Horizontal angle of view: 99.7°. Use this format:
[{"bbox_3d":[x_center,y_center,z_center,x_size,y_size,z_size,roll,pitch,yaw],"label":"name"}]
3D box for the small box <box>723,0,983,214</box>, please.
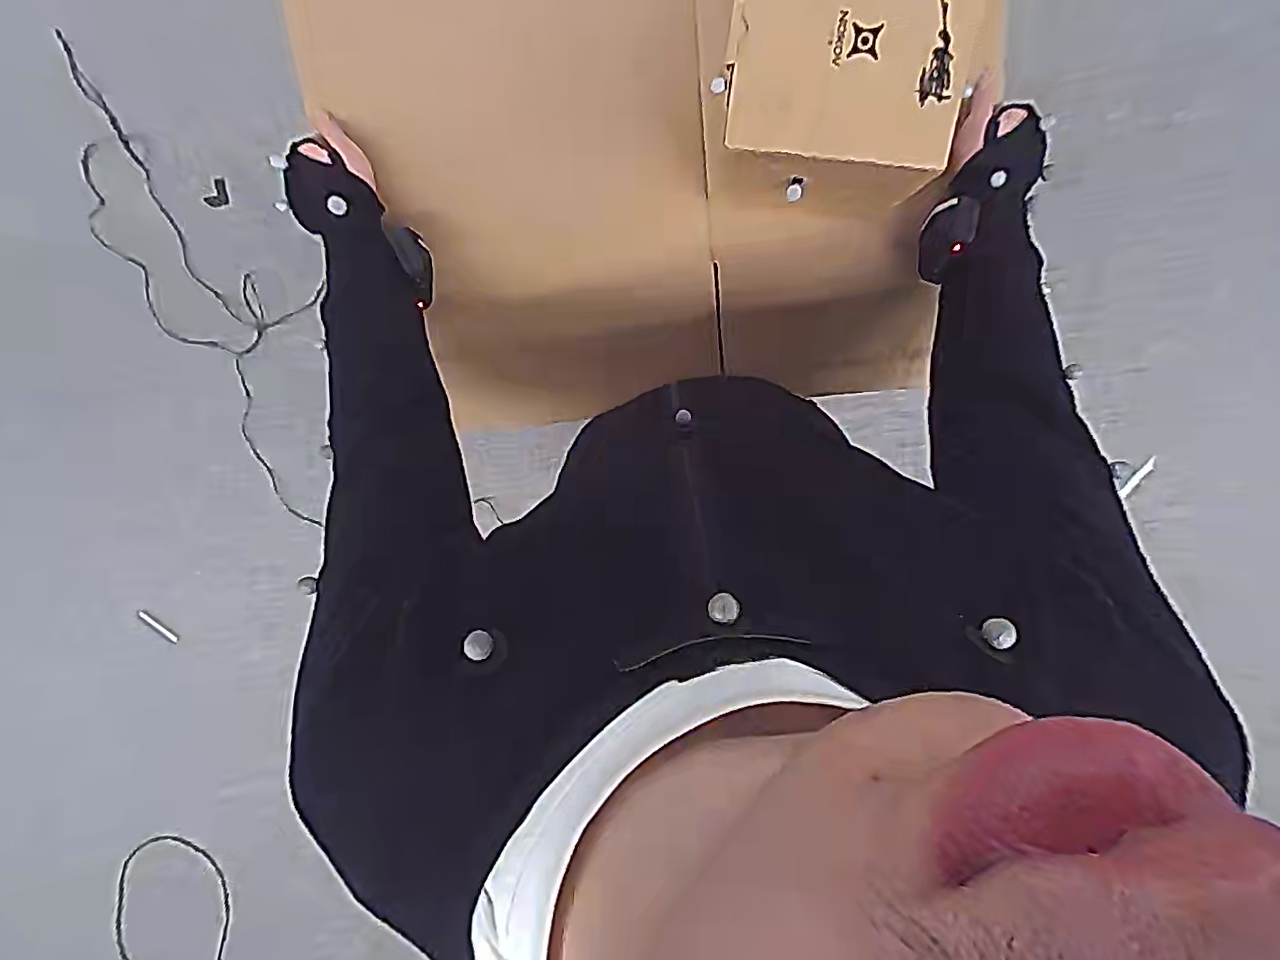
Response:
[{"bbox_3d":[0.173,-0.354,0.488,0.179,0.176,0.168,8,104,4],"label":"small box"}]
